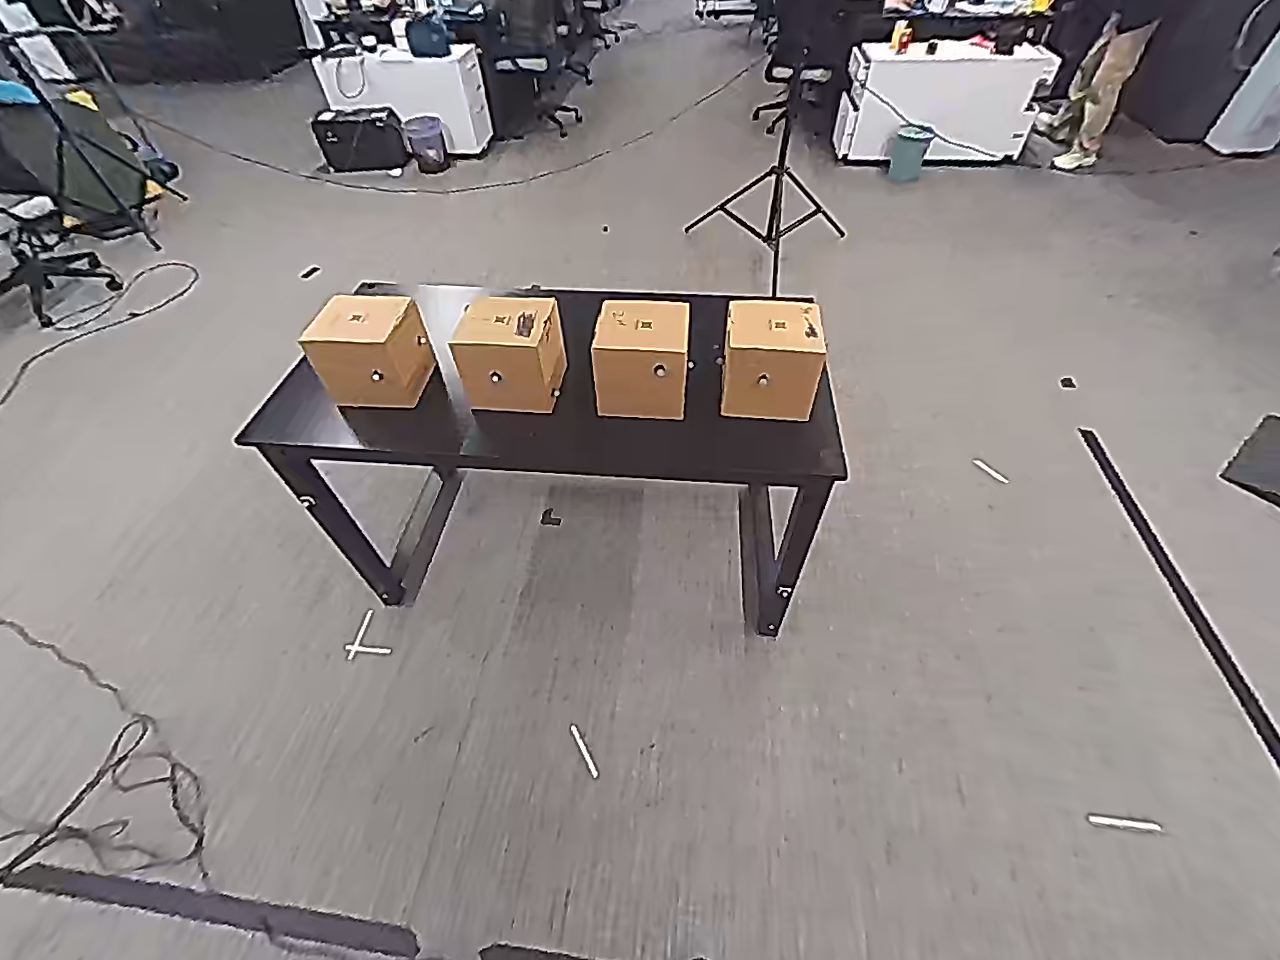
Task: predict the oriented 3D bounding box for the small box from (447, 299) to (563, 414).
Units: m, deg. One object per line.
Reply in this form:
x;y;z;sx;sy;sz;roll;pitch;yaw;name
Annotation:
-0.265;-0.253;1.119;0.179;0.176;0.168;3;49;6;small box

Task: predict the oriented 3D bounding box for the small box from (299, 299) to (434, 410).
-0.560;-0.261;1.139;0.179;0.176;0.168;1;49;4;small box

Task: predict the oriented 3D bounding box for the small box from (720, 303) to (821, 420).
0.252;-0.235;1.083;0.179;0.176;0.168;3;49;7;small box

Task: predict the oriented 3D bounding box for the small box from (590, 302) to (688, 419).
0.003;-0.238;1.094;0.179;0.176;0.168;3;48;4;small box
